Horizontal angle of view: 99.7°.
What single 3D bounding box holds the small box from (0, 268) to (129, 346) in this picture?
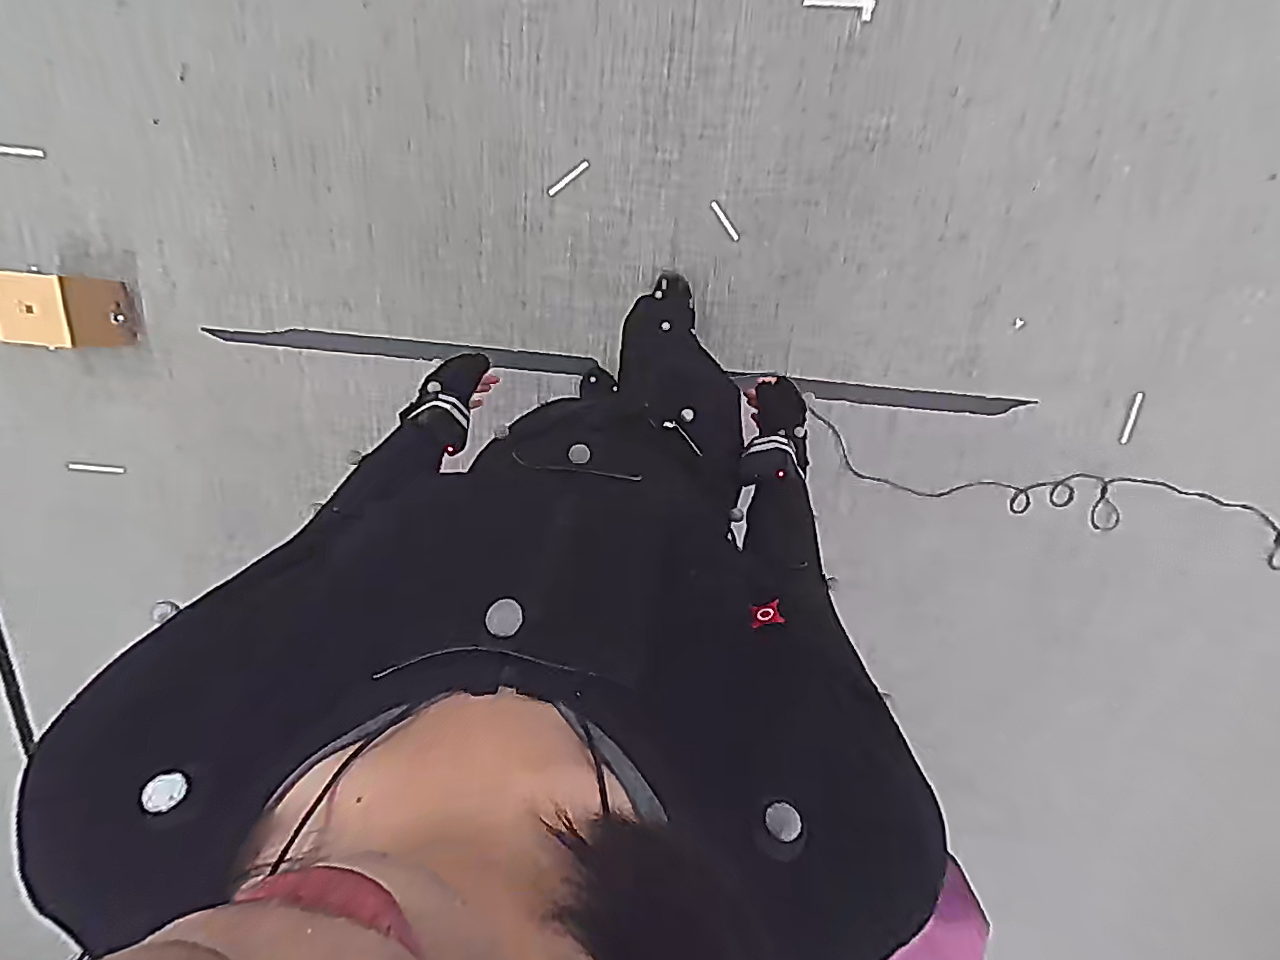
[{"bbox_3d":[-1.428,-0.424,1.329,0.179,0.176,0.168,4,107,-2],"label":"small box"}]
